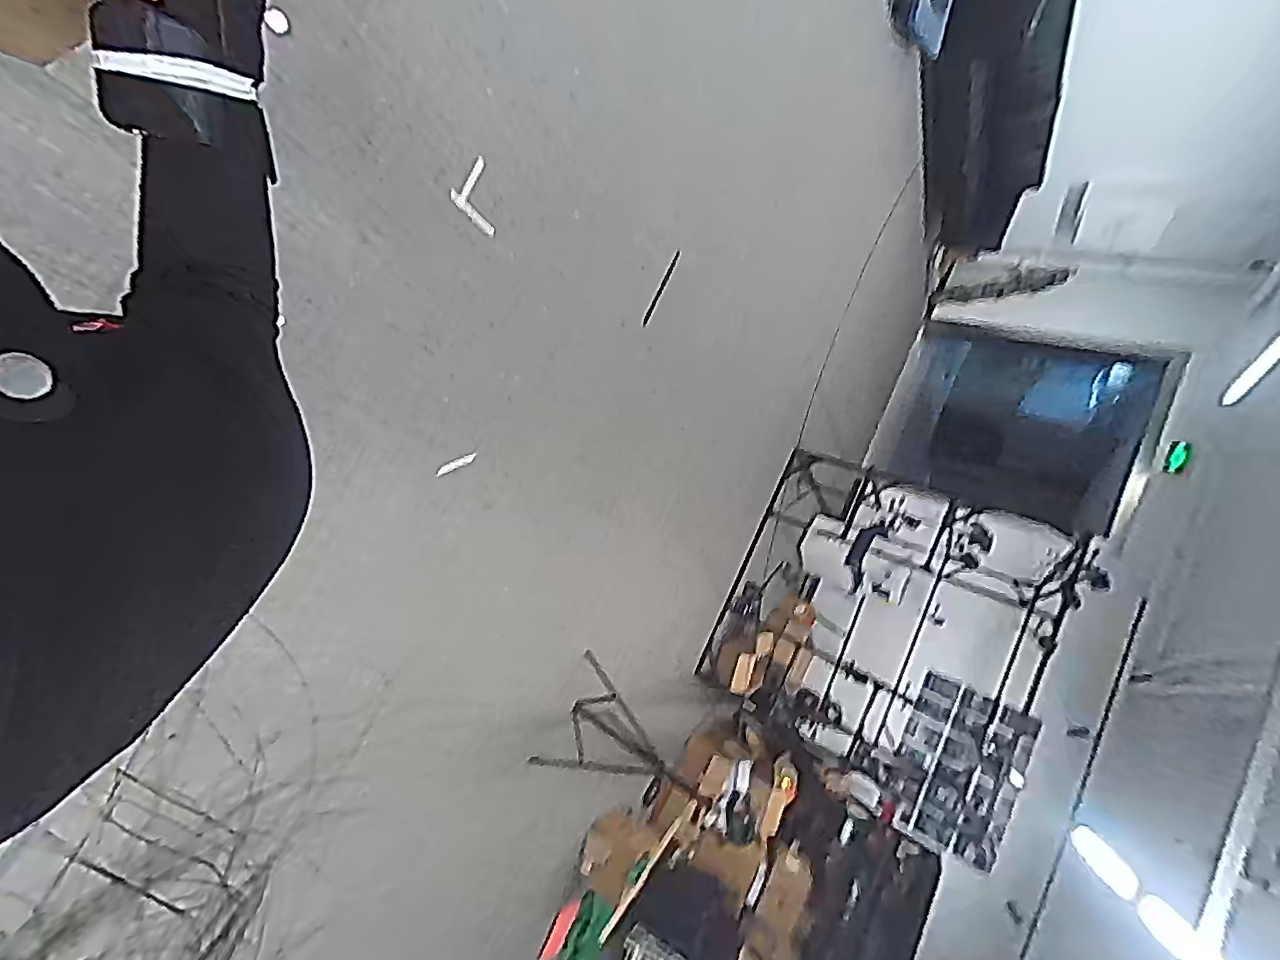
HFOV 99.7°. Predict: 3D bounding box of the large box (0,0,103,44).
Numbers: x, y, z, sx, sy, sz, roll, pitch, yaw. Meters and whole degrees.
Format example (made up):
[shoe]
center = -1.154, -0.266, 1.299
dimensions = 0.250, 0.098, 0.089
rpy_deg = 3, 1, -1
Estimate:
[large box]
center = -0.486, -0.457, 0.193
dimensions = 0.408, 0.320, 0.320
rpy_deg = -8, 114, -55
